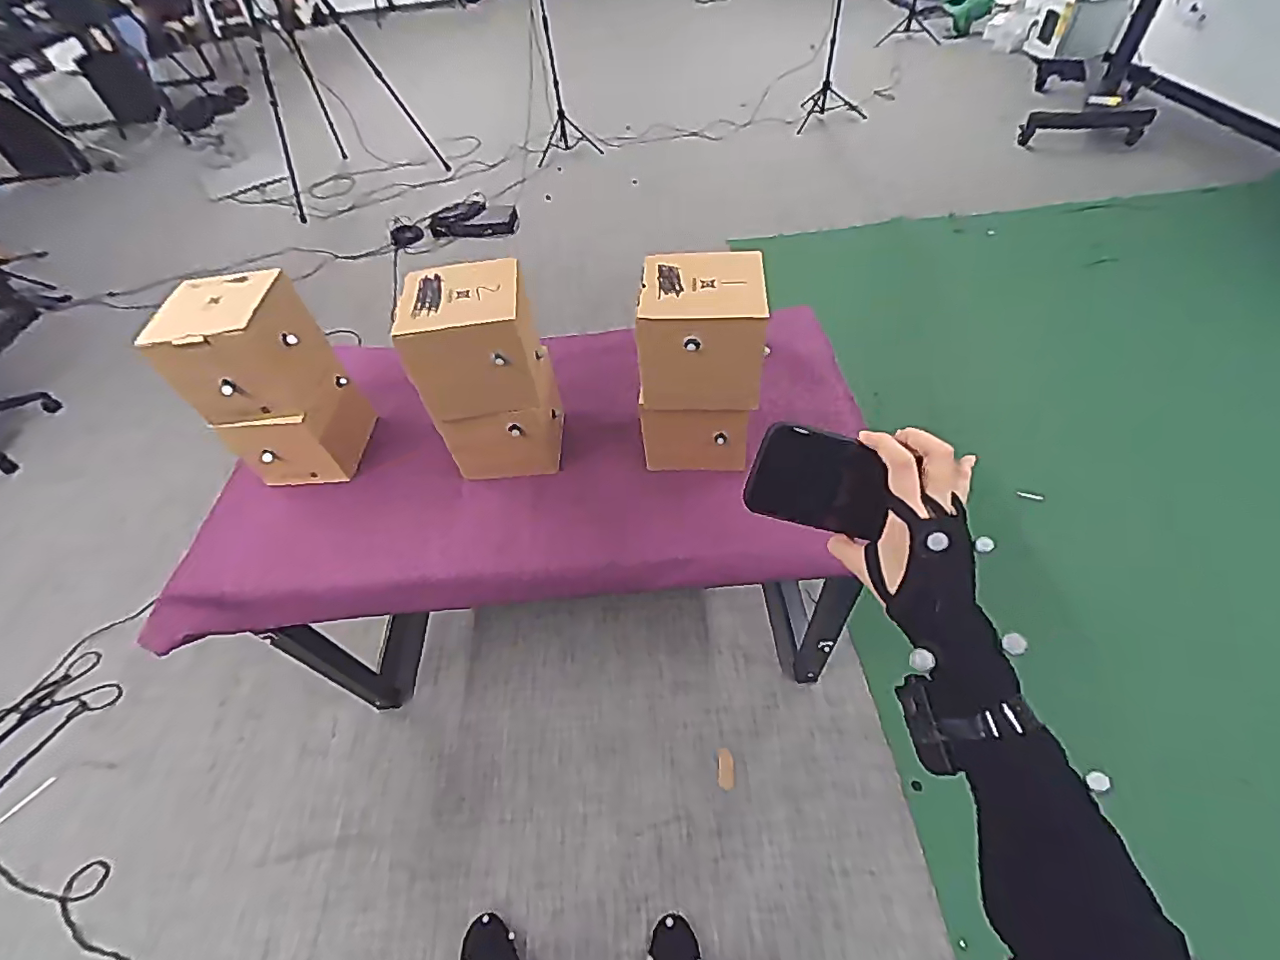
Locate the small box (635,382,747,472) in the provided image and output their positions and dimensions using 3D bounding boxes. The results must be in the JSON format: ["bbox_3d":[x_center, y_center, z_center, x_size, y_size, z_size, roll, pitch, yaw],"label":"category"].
[{"bbox_3d":[0.093,-0.127,0.955,0.179,0.176,0.168,1,51,8],"label":"small box"}]

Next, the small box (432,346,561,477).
[{"bbox_3d":[-0.247,-0.121,0.983,0.179,0.176,0.168,-3,51,3],"label":"small box"}]

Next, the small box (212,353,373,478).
[{"bbox_3d":[-0.636,-0.114,1.019,0.168,0.176,0.179,-3,51,4],"label":"small box"}]

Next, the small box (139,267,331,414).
[{"bbox_3d":[-0.649,-0.223,0.897,0.168,0.176,0.179,-6,52,0],"label":"small box"}]

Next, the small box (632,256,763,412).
[{"bbox_3d":[0.089,-0.218,0.818,0.179,0.176,0.168,2,51,7],"label":"small box"}]
